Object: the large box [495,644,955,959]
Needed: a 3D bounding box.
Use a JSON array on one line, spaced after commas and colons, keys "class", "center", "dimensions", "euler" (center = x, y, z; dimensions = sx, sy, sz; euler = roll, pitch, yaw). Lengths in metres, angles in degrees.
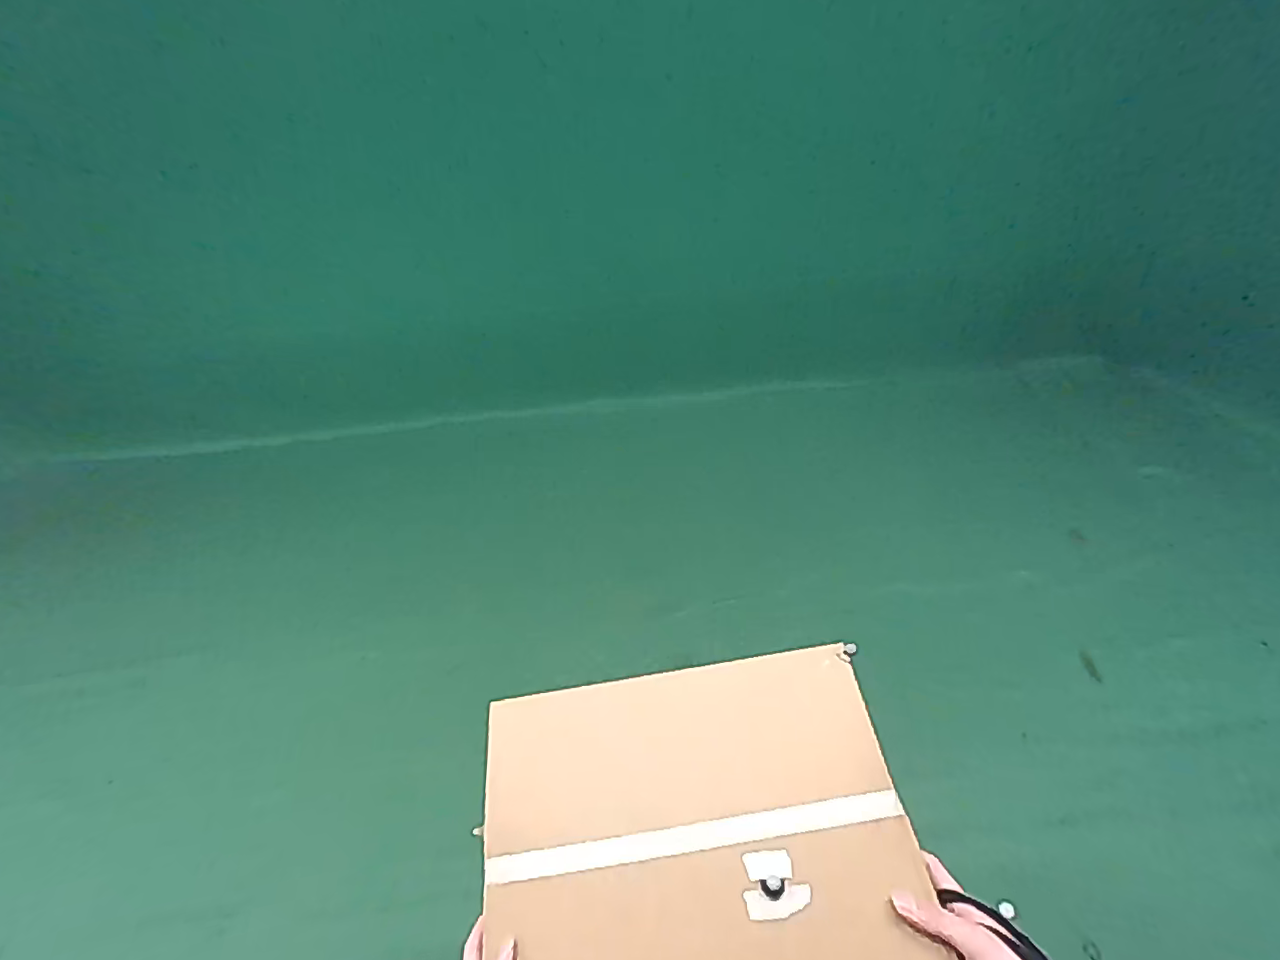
[{"class": "large box", "center": [0.067, 0.431, 0.648], "dimensions": [0.408, 0.320, 0.320], "euler": [-10, 55, 0]}]
